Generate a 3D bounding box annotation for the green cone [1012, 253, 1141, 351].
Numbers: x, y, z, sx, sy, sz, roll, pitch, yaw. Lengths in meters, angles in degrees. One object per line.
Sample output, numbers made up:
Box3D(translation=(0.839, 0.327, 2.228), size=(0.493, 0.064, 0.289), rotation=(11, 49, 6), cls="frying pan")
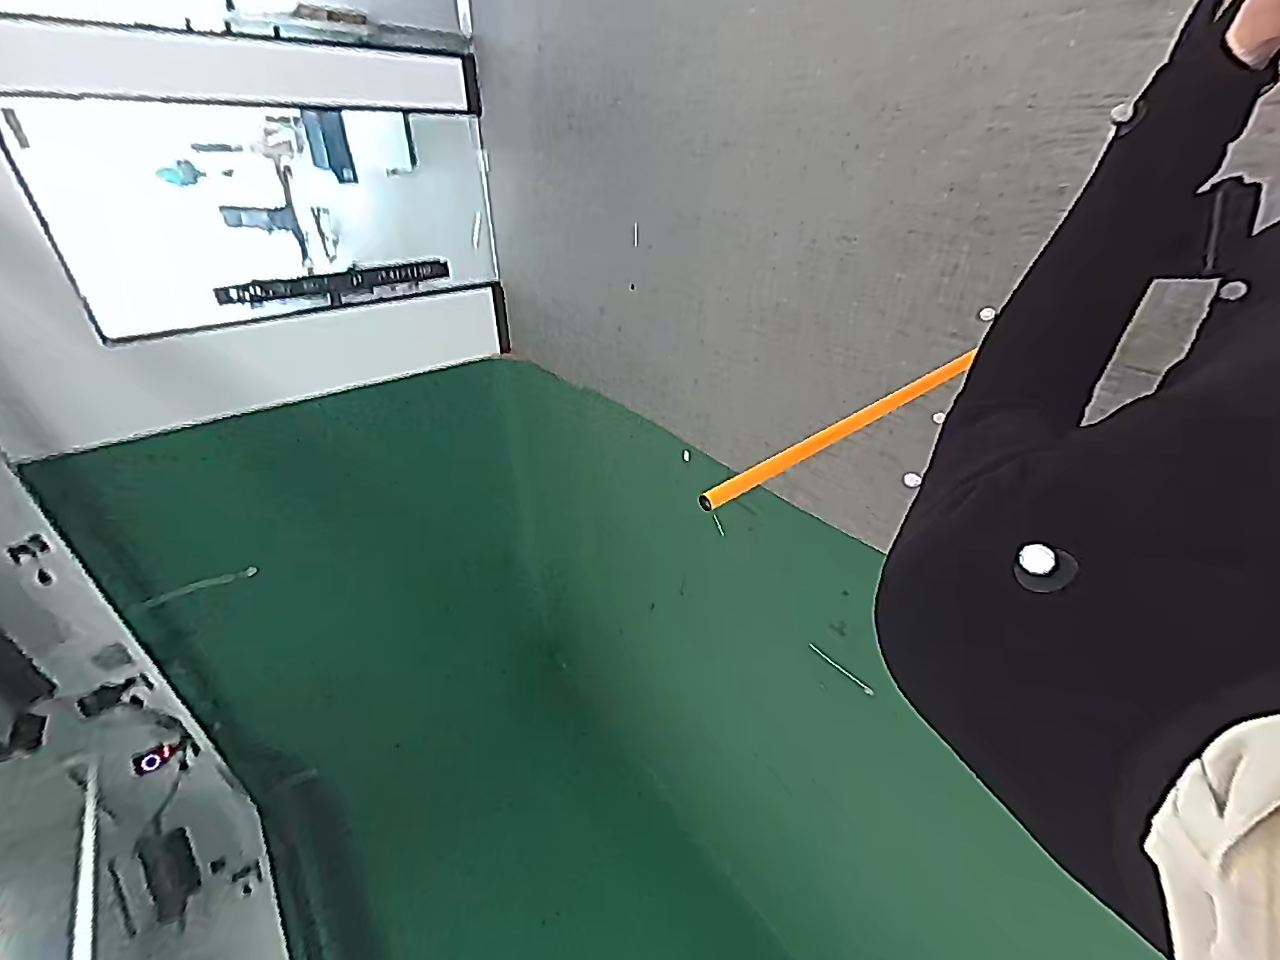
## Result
Box3D(translation=(0.907, -0.366, 1.198), size=(0.202, 0.368, 0.200), rotation=(33, 135, 39), cls="green cone")
